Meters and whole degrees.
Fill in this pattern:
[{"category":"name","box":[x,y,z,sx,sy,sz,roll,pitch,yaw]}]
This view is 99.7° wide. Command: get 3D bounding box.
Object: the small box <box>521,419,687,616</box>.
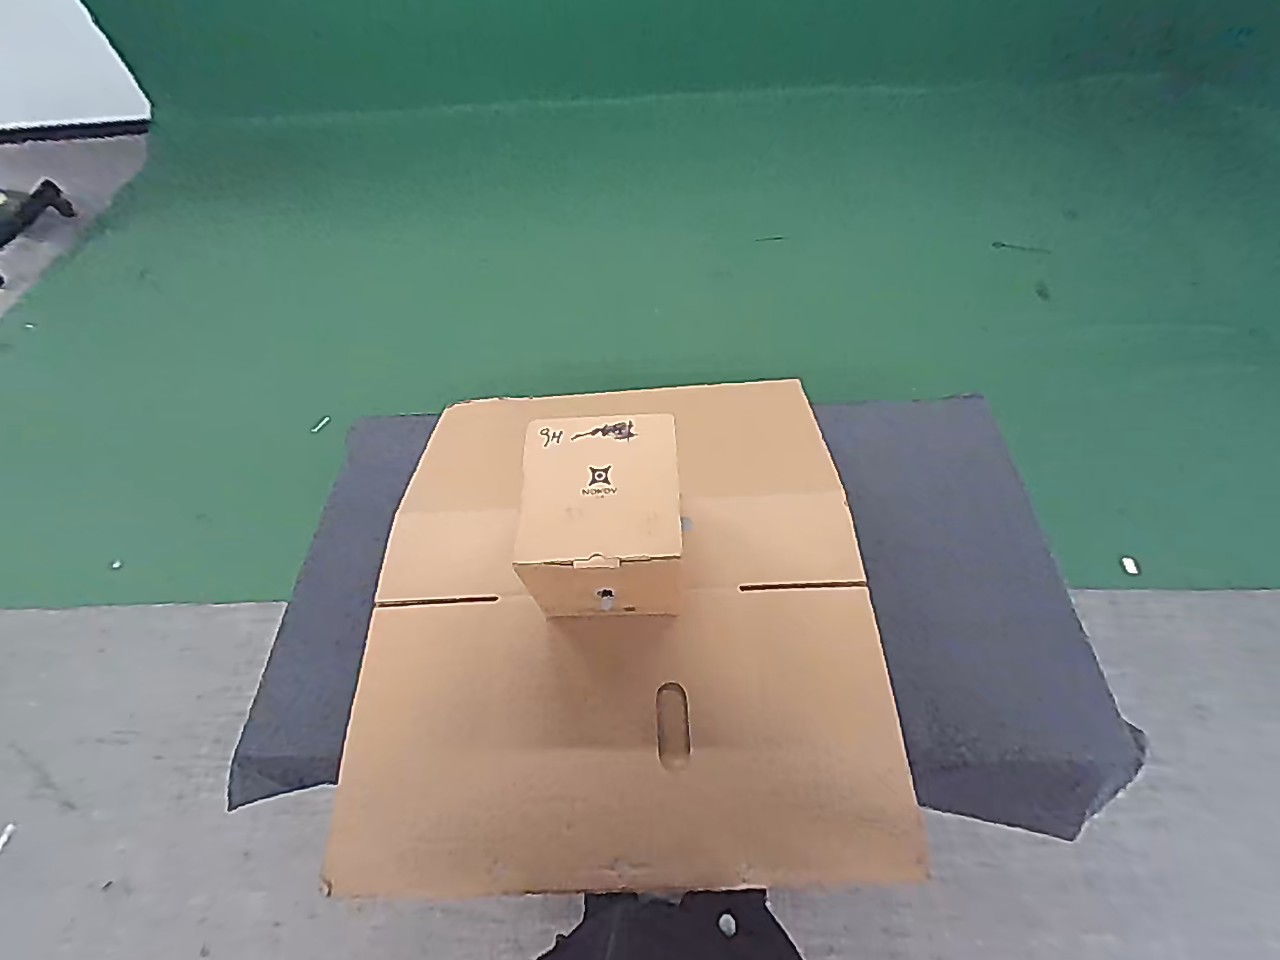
[{"category":"small box","box":[-0.033,0.053,0.632,0.168,0.176,0.179,-5,58,1]}]
